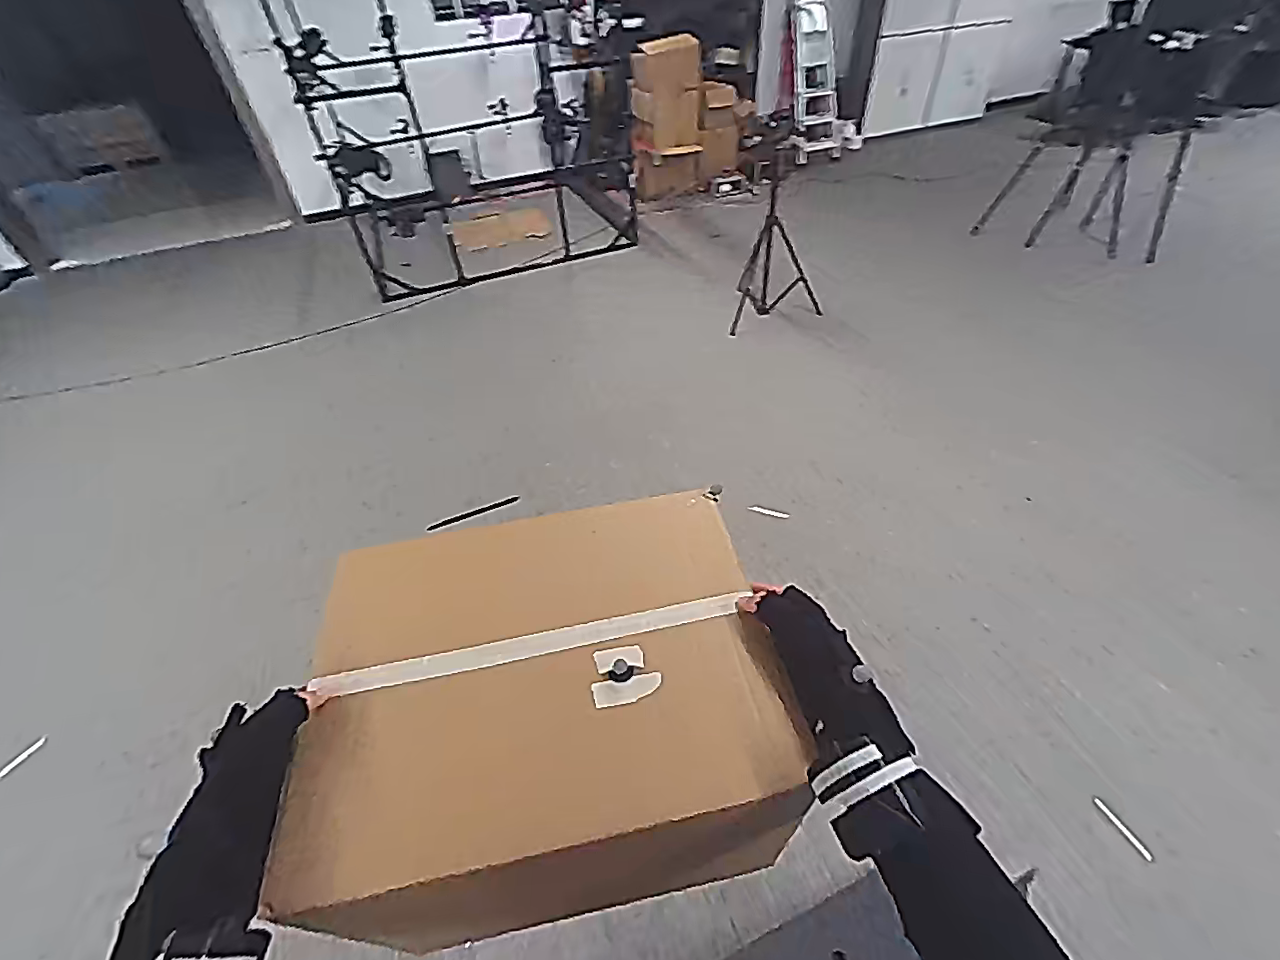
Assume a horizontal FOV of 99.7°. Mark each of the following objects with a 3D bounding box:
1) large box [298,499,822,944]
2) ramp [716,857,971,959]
[{"bbox_3d":[-0.072,0.263,0.610,0.408,0.320,0.320,-9,45,-6],"label":"large box"},{"bbox_3d":[0.290,1.175,1.011,0.991,0.206,0.509,-20,44,-15],"label":"ramp"}]
